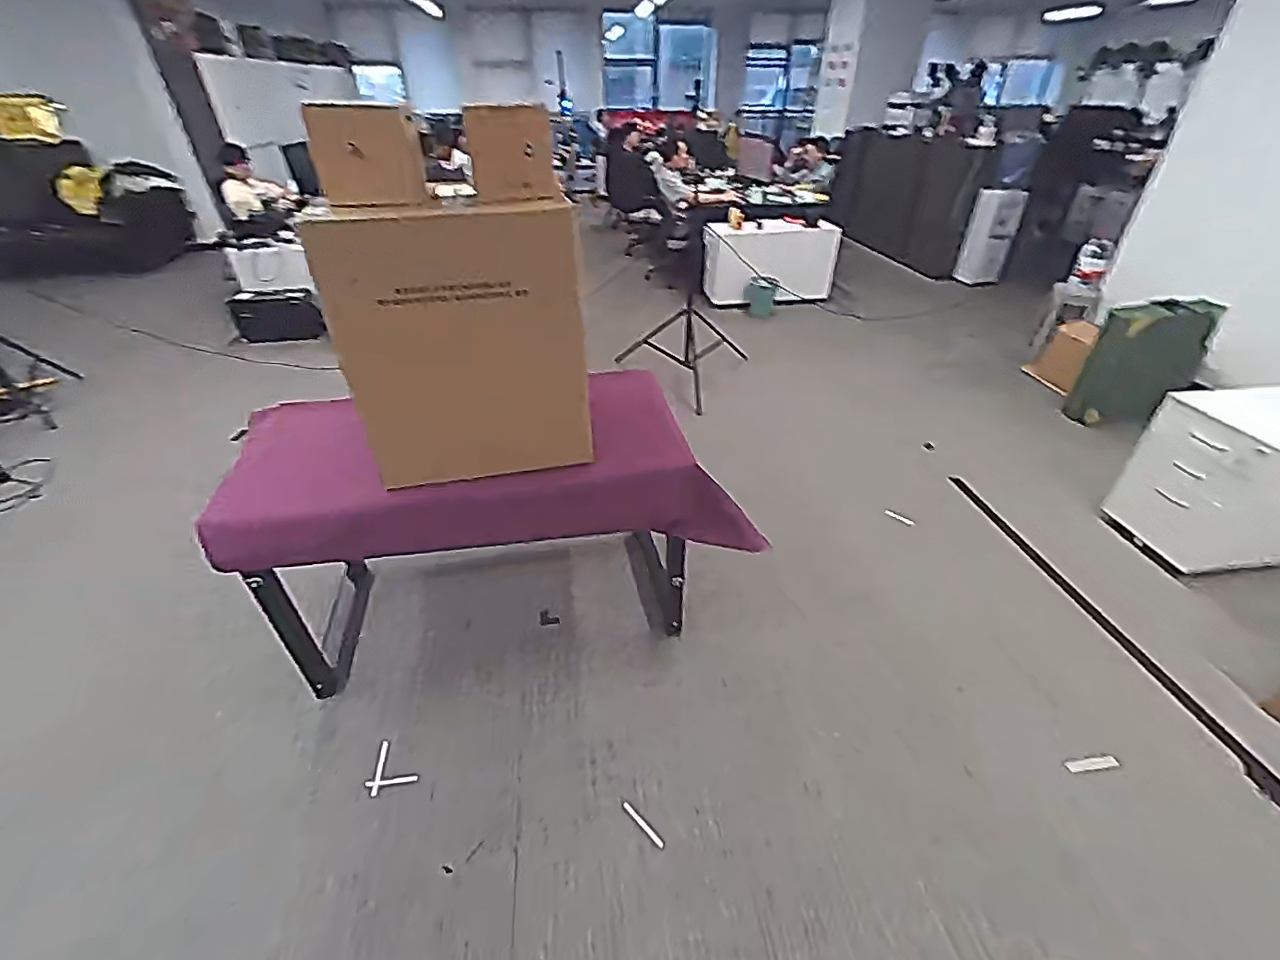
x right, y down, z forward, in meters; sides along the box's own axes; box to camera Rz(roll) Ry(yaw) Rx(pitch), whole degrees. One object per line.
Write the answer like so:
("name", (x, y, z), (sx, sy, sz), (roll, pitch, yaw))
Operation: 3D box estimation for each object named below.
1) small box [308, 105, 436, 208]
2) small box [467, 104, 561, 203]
("small box", (-0.532, -0.659, 1.102), (0.179, 0.176, 0.168), (-6, 37, -8))
("small box", (-0.265, -0.692, 1.148), (0.168, 0.176, 0.179), (-8, 36, -11))
